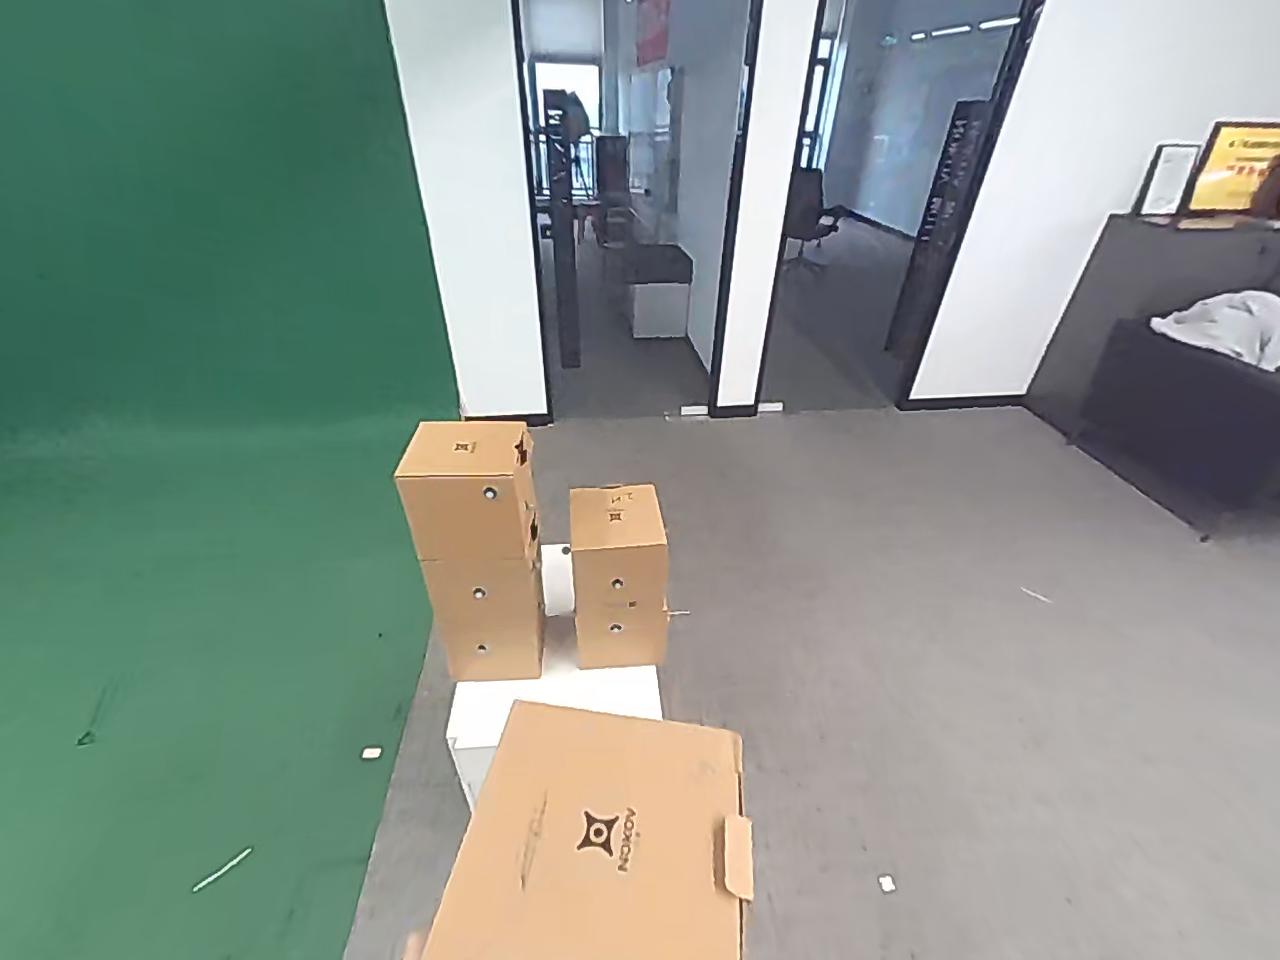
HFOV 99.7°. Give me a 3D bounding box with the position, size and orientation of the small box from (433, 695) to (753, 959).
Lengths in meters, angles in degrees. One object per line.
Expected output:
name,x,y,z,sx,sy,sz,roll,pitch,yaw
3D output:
small box,-0.019,0.289,0.395,0.179,0.176,0.168,5,33,5

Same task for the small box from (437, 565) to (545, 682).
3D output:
small box,-0.289,0.289,1.087,0.179,0.176,0.168,0,36,-5

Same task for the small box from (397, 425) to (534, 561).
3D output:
small box,-0.277,0.022,0.900,0.179,0.176,0.168,0,35,-6

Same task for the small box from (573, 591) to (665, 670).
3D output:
small box,-0.044,0.275,1.121,0.179,0.176,0.168,-2,36,-5

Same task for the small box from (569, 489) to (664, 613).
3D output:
small box,-0.047,0.138,1.029,0.168,0.176,0.179,-3,35,-6
